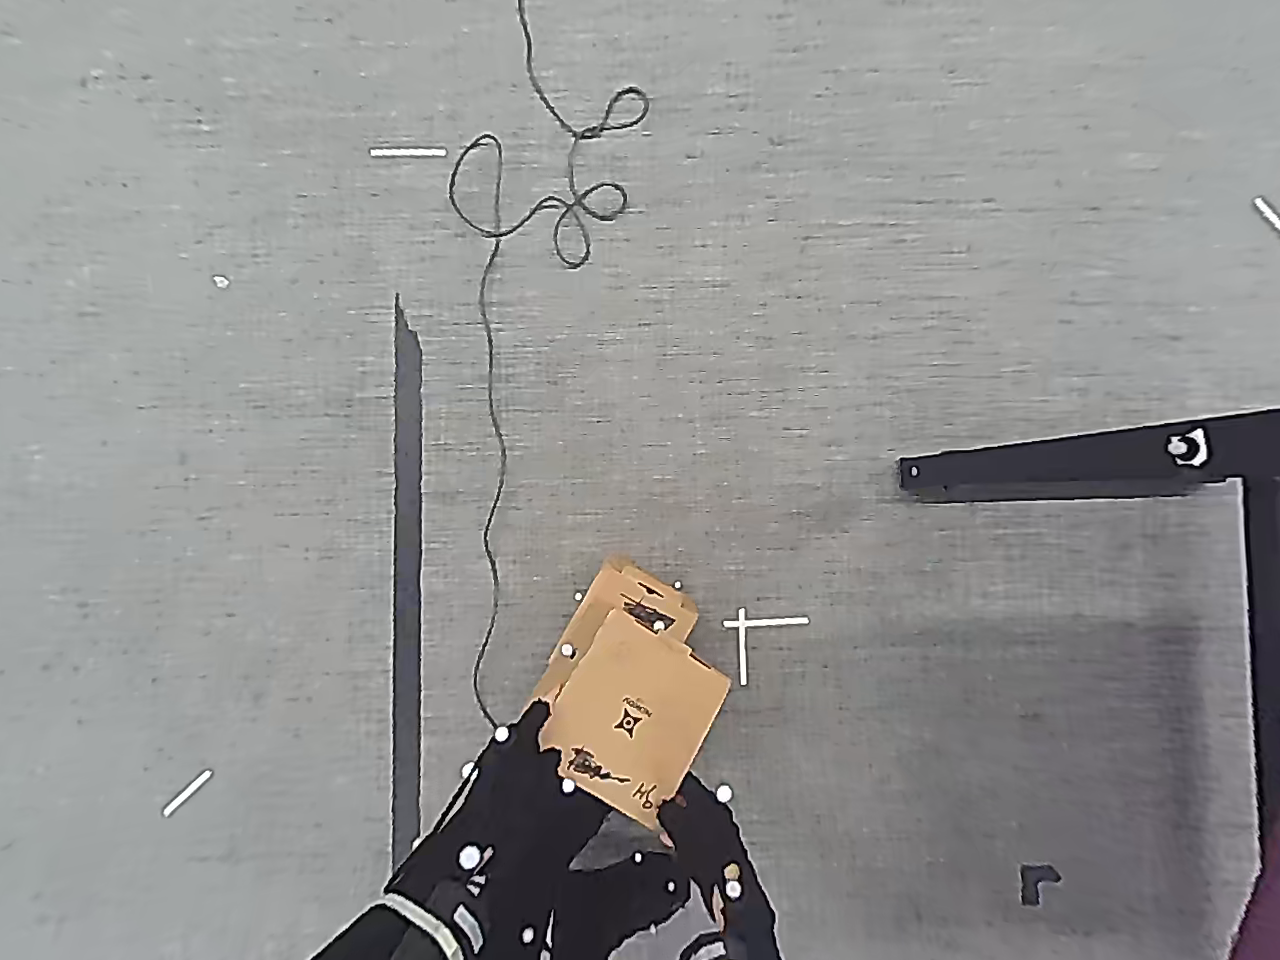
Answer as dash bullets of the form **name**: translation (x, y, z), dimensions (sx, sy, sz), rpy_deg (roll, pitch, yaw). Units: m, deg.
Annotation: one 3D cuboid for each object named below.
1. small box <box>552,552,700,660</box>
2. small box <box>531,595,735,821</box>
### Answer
- **small box**: translation (-0.022, 0.234, 0.884), dimensions (0.168, 0.176, 0.179), rpy_deg (30, 89, 1)
- **small box**: translation (-0.021, 0.253, 0.653), dimensions (0.168, 0.176, 0.179), rpy_deg (34, 75, -5)
